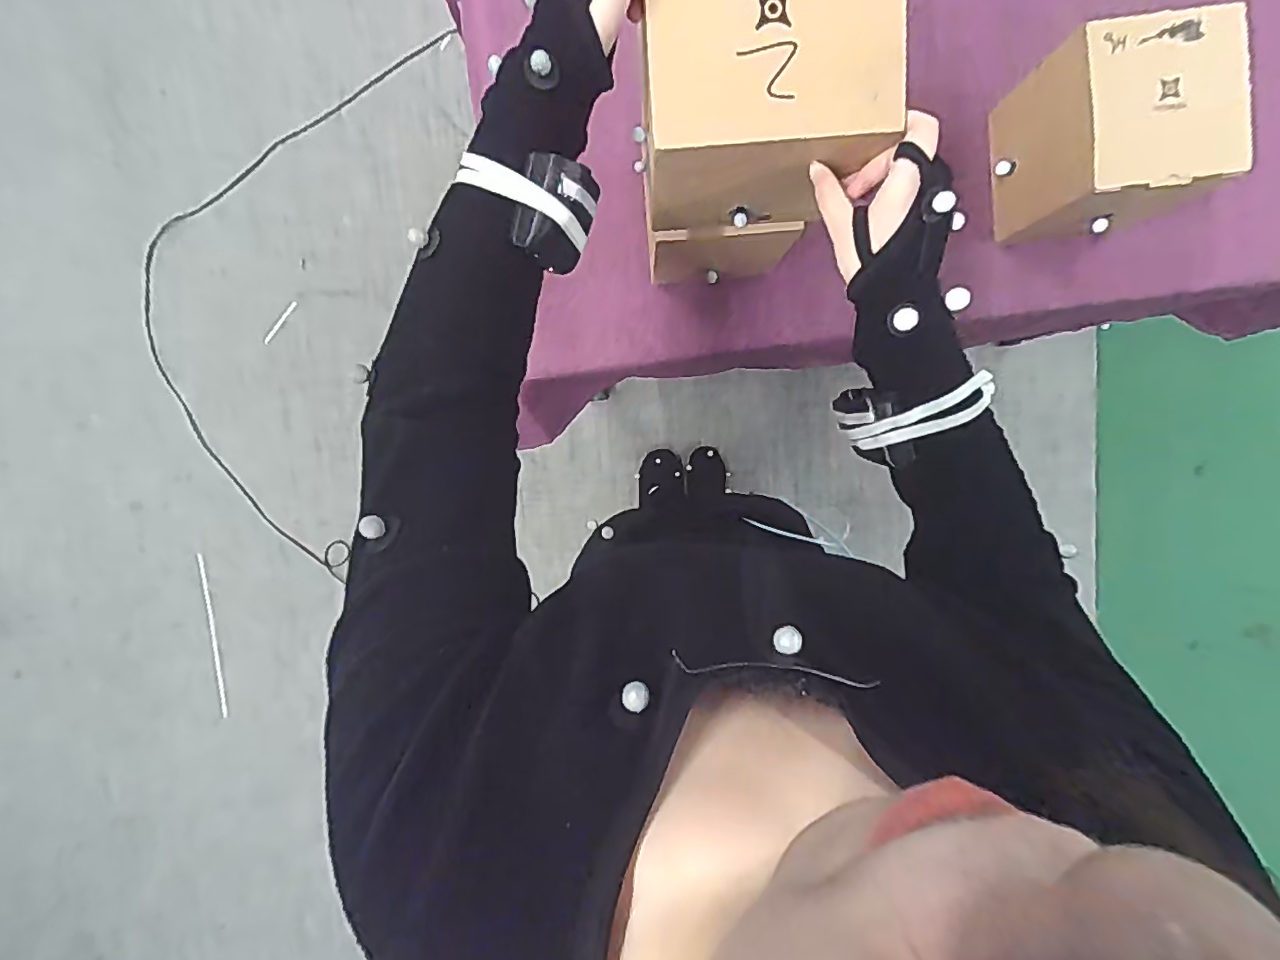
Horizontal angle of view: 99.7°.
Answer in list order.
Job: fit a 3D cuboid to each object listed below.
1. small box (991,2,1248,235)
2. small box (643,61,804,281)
[{"bbox_3d":[0.555,-0.410,0.650,0.168,0.176,0.179,-6,96,1],"label":"small box"},{"bbox_3d":[0.091,-0.359,0.658,0.168,0.176,0.179,-5,96,1],"label":"small box"}]
